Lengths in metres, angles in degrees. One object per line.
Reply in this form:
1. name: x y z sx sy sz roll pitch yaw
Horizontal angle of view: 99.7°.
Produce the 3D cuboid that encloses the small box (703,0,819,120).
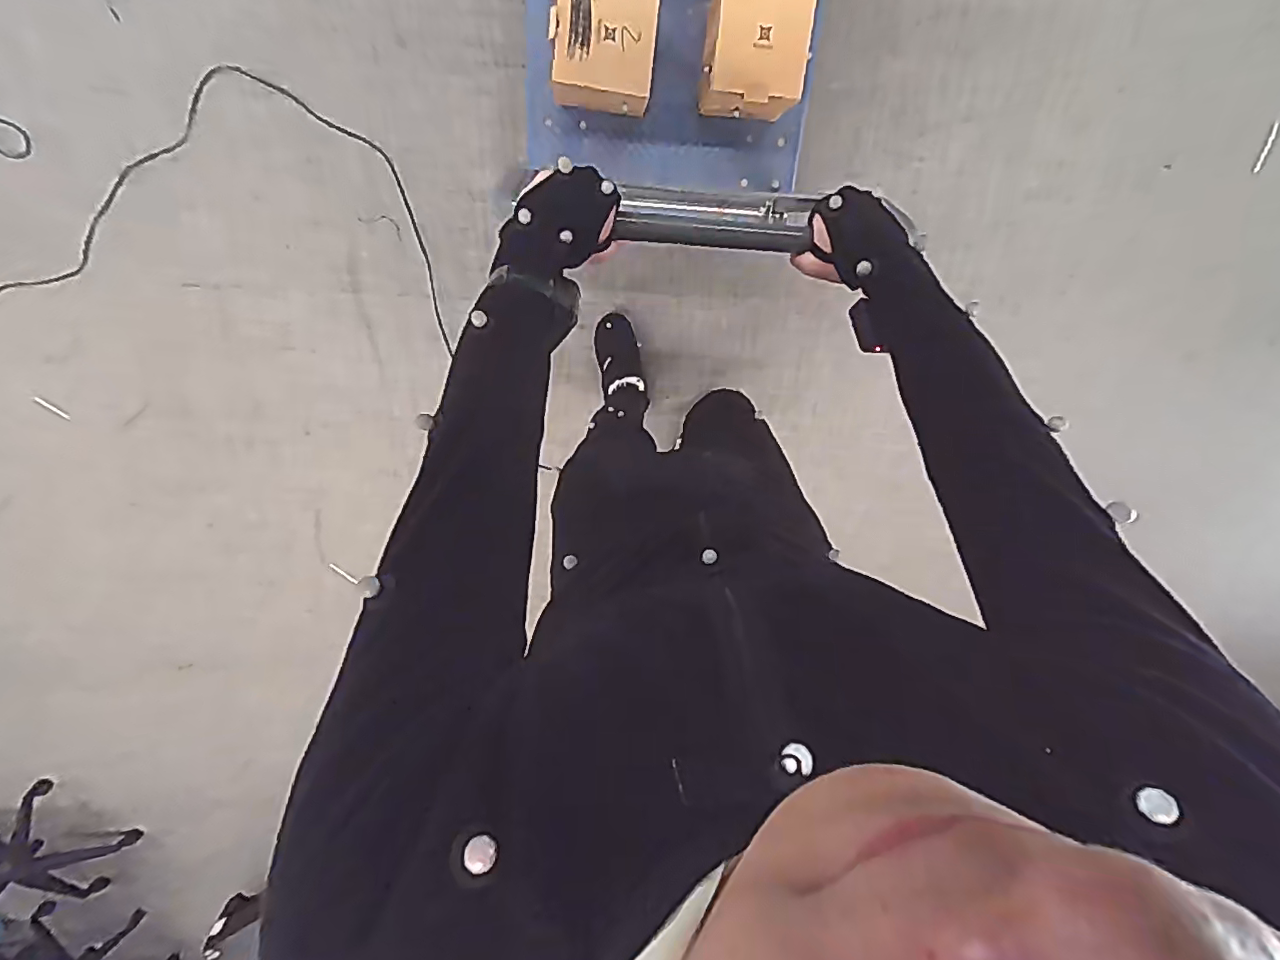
1. small box: 0.217 -0.803 1.014 0.168 0.176 0.179 2 114 -4
